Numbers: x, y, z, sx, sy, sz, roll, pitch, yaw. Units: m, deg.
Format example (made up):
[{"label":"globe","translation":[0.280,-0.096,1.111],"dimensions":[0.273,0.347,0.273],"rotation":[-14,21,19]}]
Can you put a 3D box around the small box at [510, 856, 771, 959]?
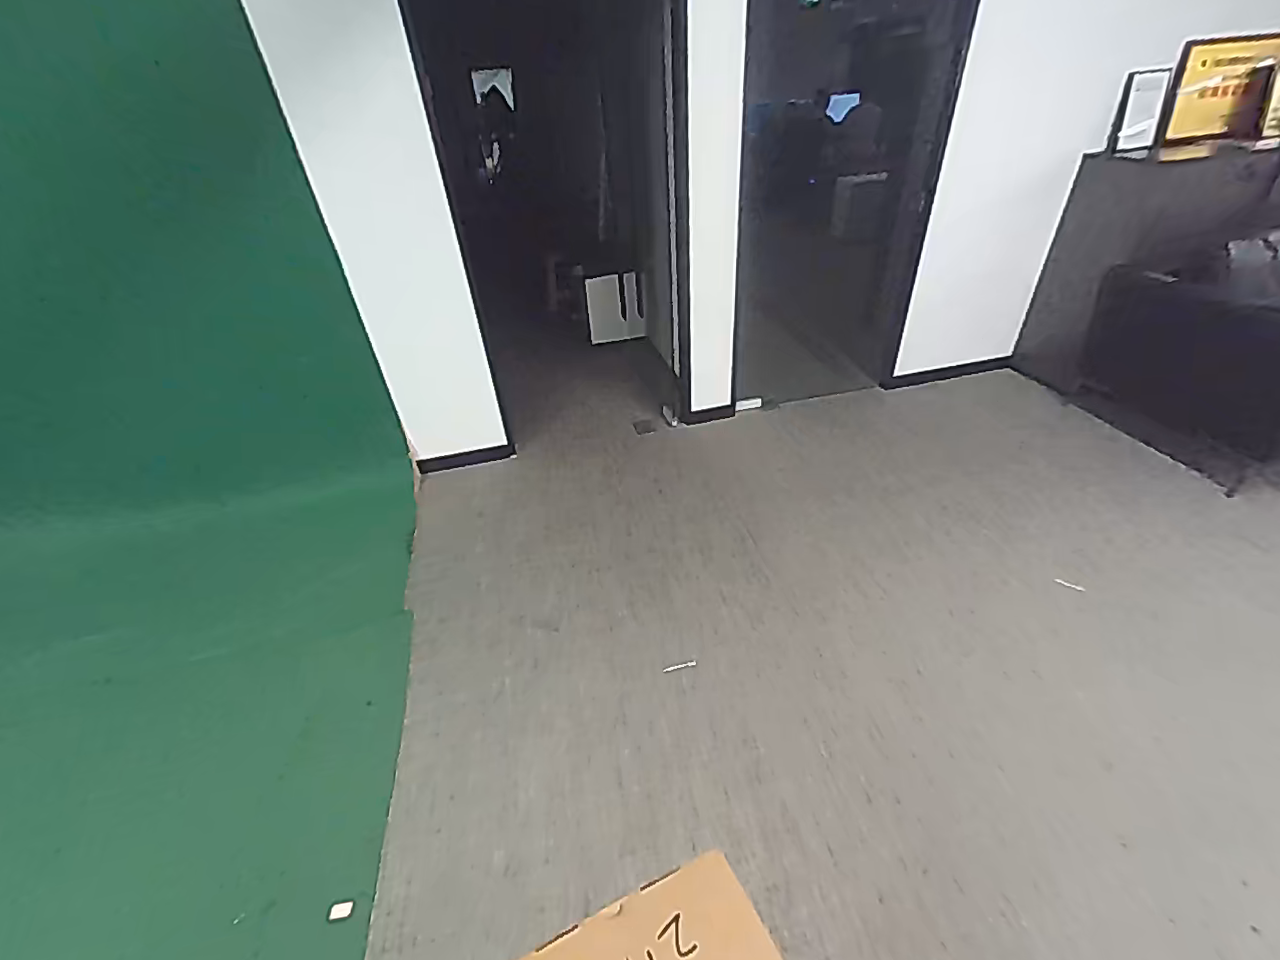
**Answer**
[{"label":"small box","translation":[0.019,0.390,0.324],"dimensions":[0.168,0.176,0.179],"rotation":[-14,27,-20]}]
